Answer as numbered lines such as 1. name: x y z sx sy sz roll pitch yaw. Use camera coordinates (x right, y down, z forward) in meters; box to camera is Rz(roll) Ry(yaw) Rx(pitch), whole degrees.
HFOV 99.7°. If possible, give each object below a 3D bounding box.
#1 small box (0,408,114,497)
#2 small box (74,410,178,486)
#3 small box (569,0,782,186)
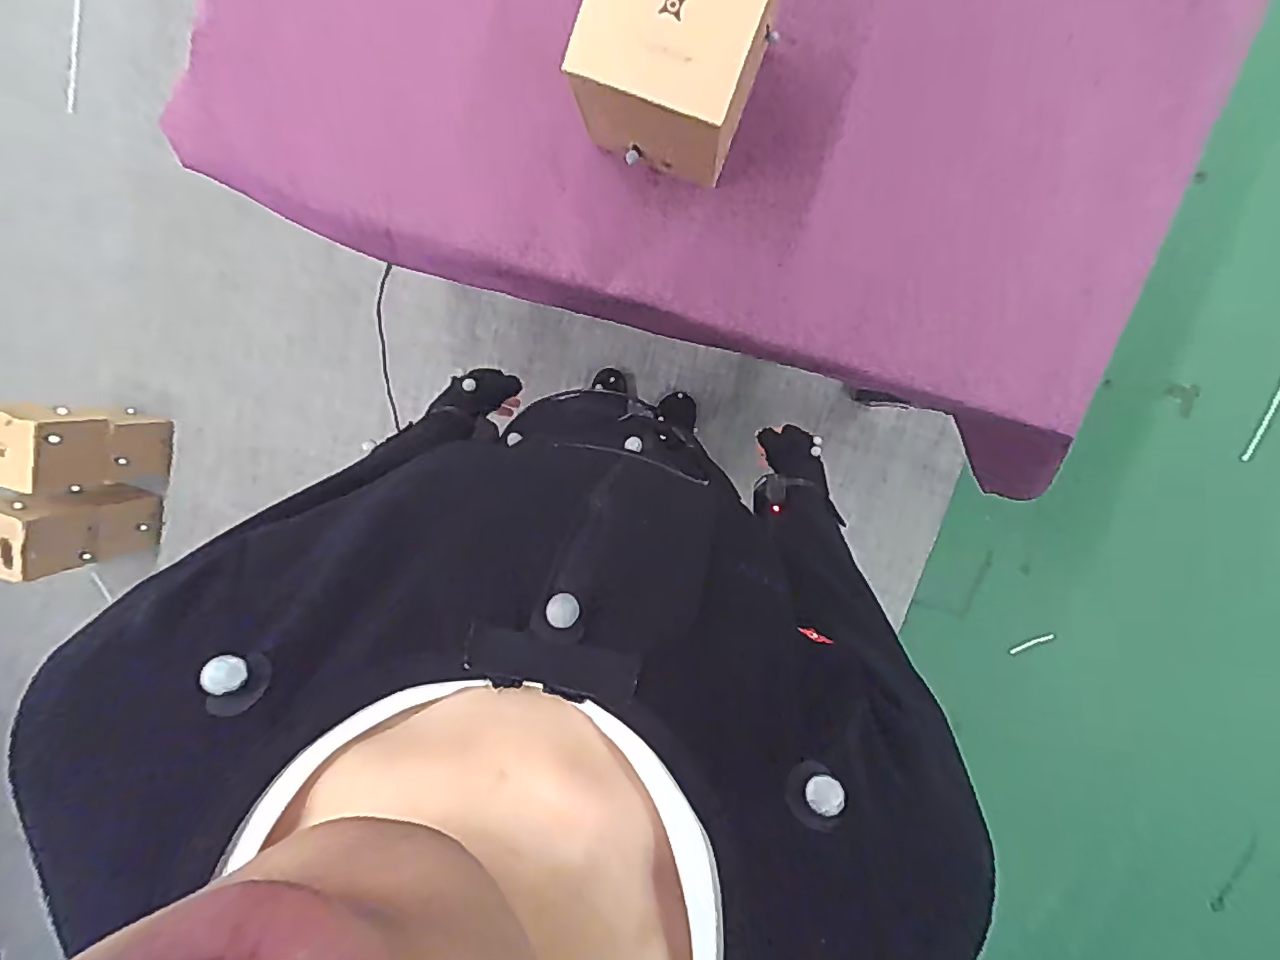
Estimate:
1. small box: -1.450 -0.074 1.326 0.168 0.176 0.179 13 100 2
2. small box: -1.434 -0.094 1.487 0.179 0.176 0.168 14 101 3
3. small box: 0.042 -0.453 0.575 0.168 0.176 0.179 21 101 2
